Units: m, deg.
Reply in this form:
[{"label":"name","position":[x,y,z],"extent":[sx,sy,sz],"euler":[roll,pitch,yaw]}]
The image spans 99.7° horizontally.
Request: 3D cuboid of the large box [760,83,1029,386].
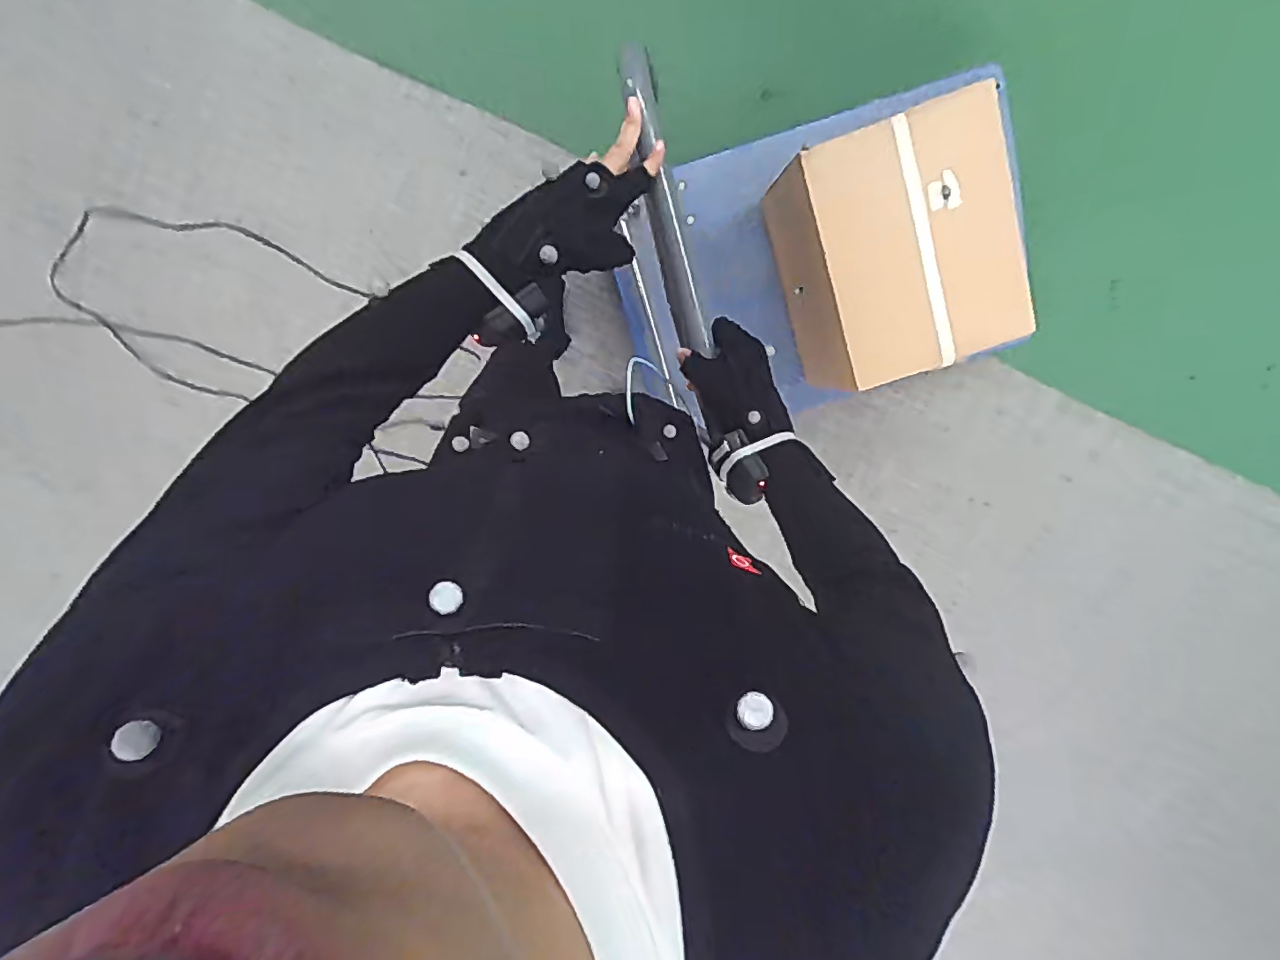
[{"label":"large box","position":[0.460,-0.426,1.043],"extent":[0.320,0.320,0.408],"euler":[-19,102,4]}]
